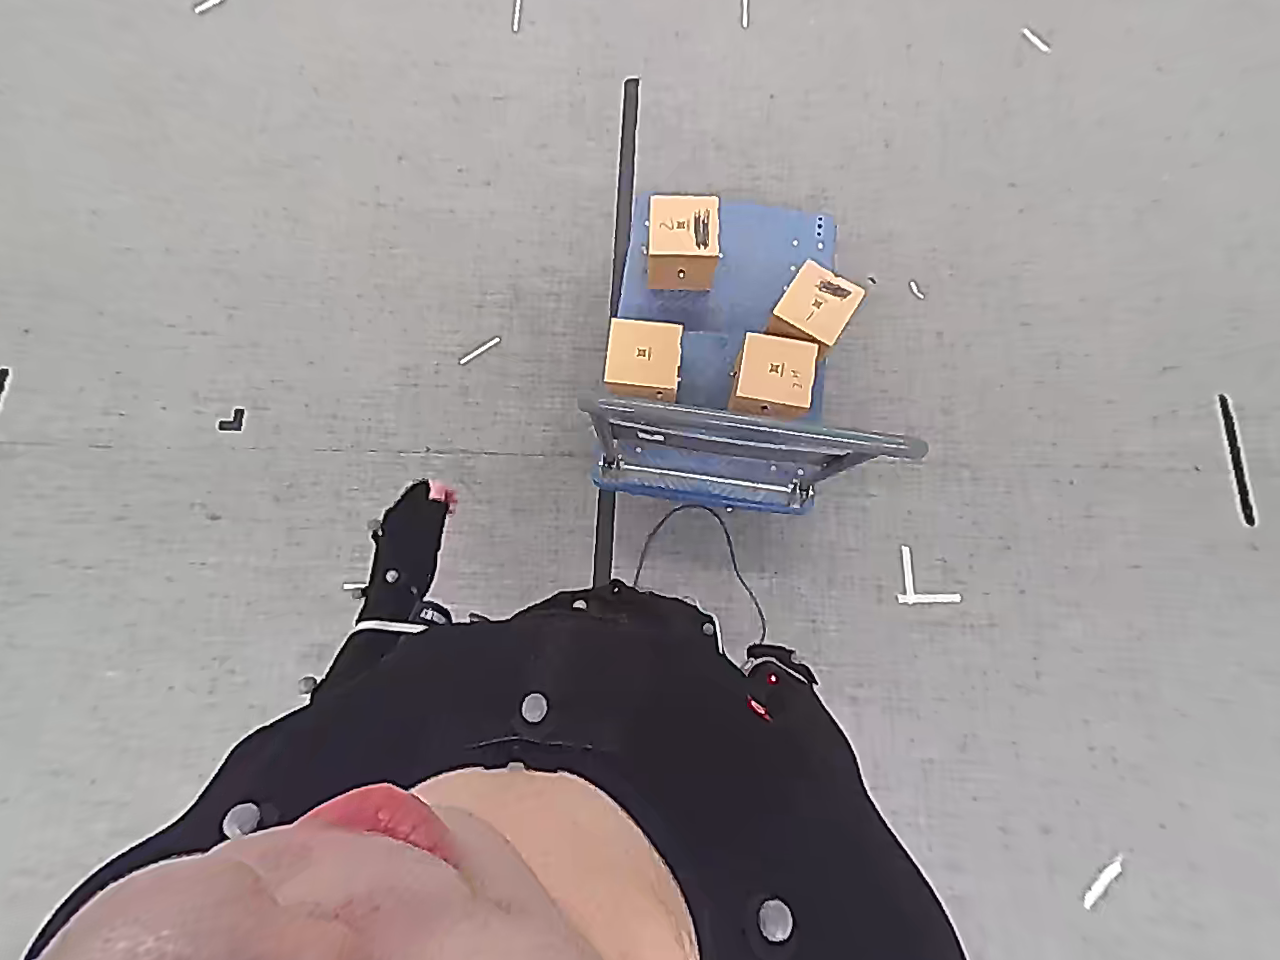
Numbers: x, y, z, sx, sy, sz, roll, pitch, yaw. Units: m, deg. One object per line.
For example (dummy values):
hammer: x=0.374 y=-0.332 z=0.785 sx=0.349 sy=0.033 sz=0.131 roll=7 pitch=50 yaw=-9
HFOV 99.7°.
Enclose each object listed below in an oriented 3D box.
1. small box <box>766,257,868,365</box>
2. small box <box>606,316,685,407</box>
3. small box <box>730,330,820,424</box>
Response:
small box: x=0.438 y=-0.419 z=1.377 sx=0.168 sy=0.176 sz=0.179 roll=33 pitch=82 yaw=7
small box: x=0.014 y=-0.292 z=1.359 sx=0.179 sy=0.176 sz=0.168 roll=6 pitch=79 yaw=0
small box: x=0.328 y=-0.248 z=1.345 sx=0.179 sy=0.176 sz=0.168 roll=11 pitch=80 yaw=3
